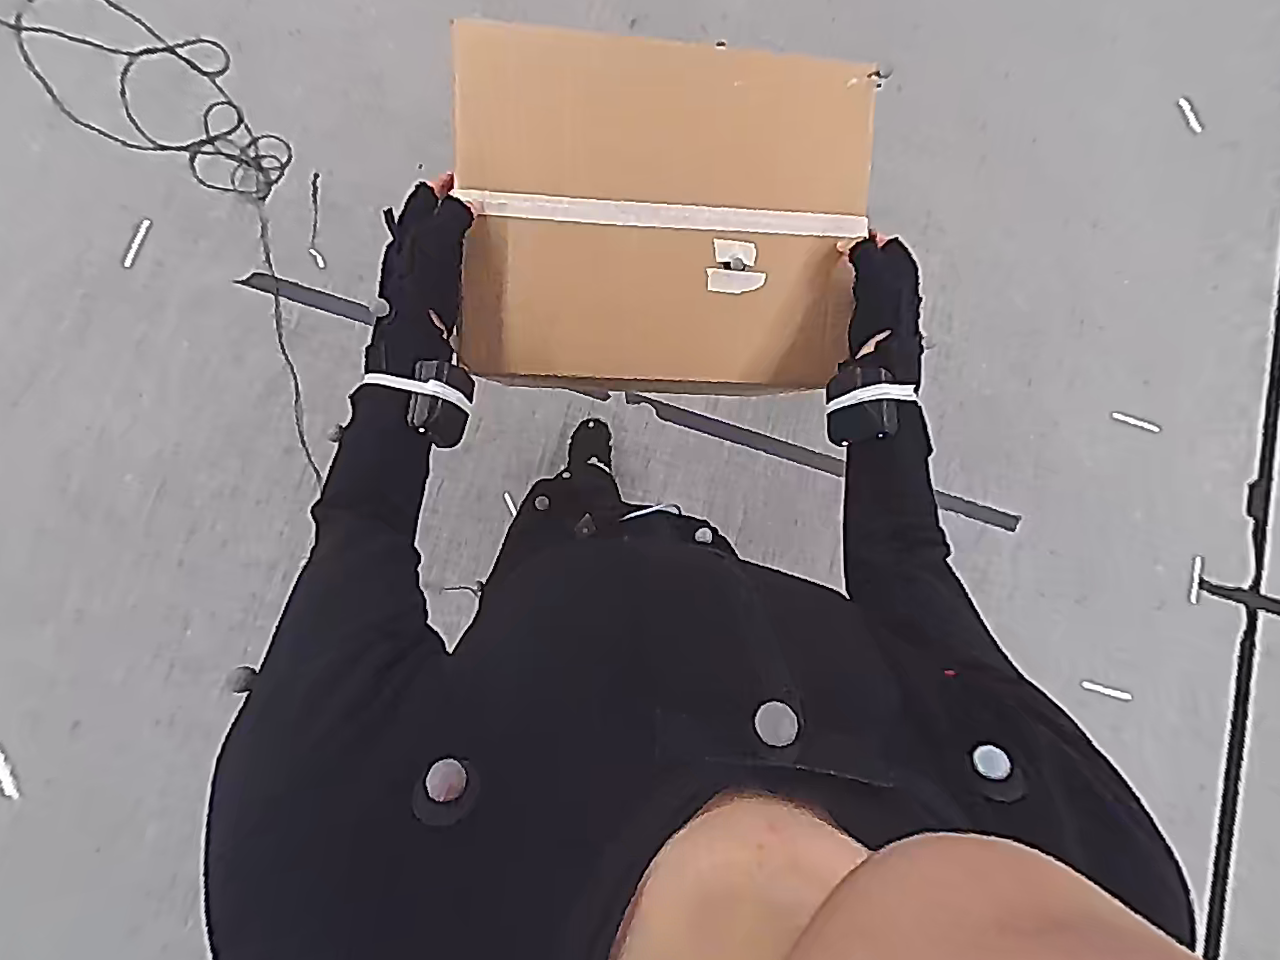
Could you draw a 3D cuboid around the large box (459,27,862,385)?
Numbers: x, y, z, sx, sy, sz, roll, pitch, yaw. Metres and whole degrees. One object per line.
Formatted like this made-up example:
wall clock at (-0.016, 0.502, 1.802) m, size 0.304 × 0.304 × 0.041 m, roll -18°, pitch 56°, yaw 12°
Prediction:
large box at (0.008, -0.286, 0.687) m, size 0.408 × 0.320 × 0.320 m, roll 1°, pitch 98°, yaw -7°
